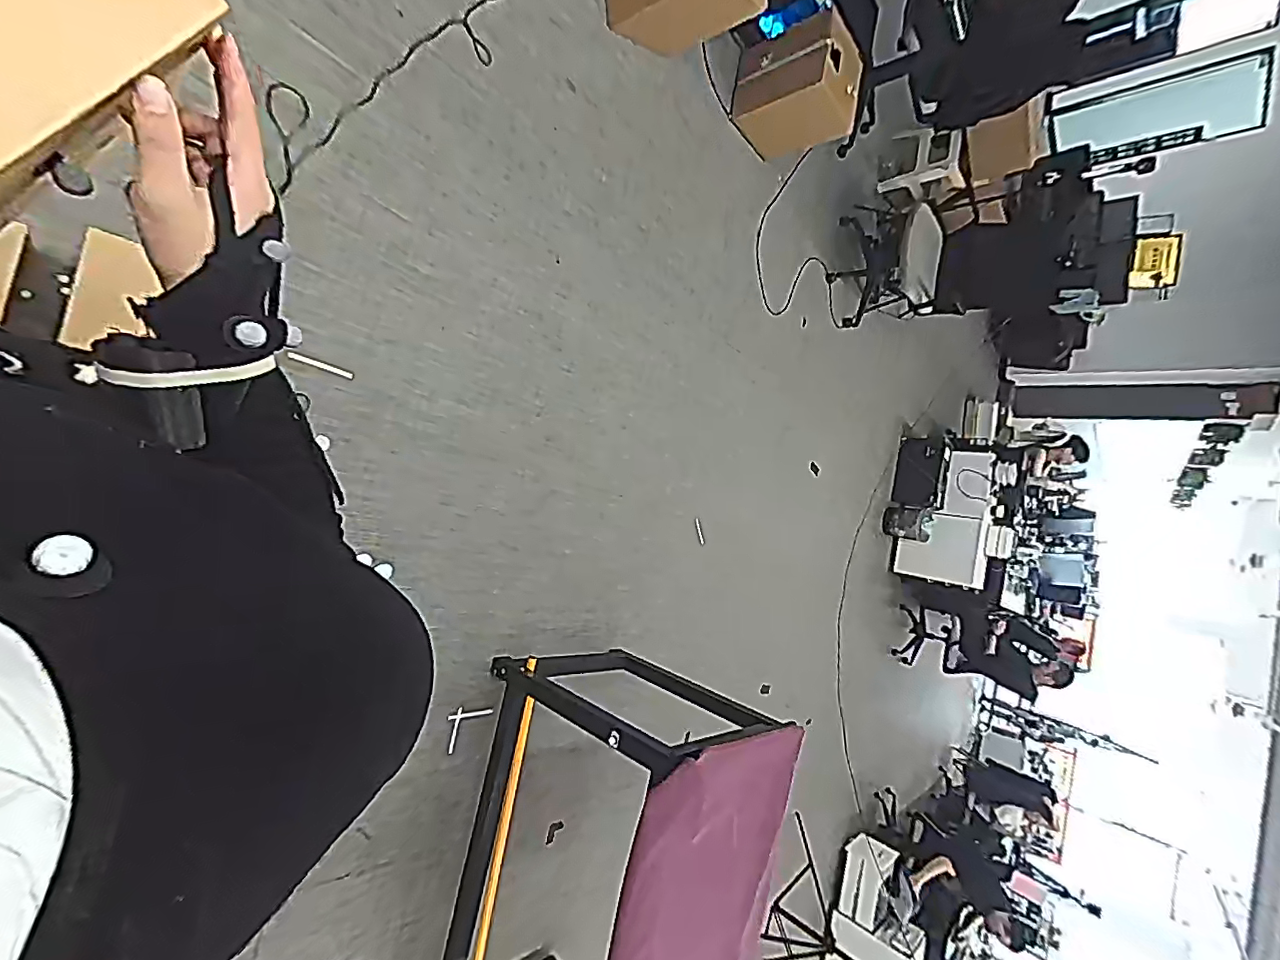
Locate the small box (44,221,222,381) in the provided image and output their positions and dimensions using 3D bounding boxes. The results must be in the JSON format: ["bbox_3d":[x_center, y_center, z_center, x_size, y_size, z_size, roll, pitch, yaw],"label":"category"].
[{"bbox_3d":[-0.783,-0.261,0.836,0.168,0.176,0.179,15,85,-47],"label":"small box"}]
